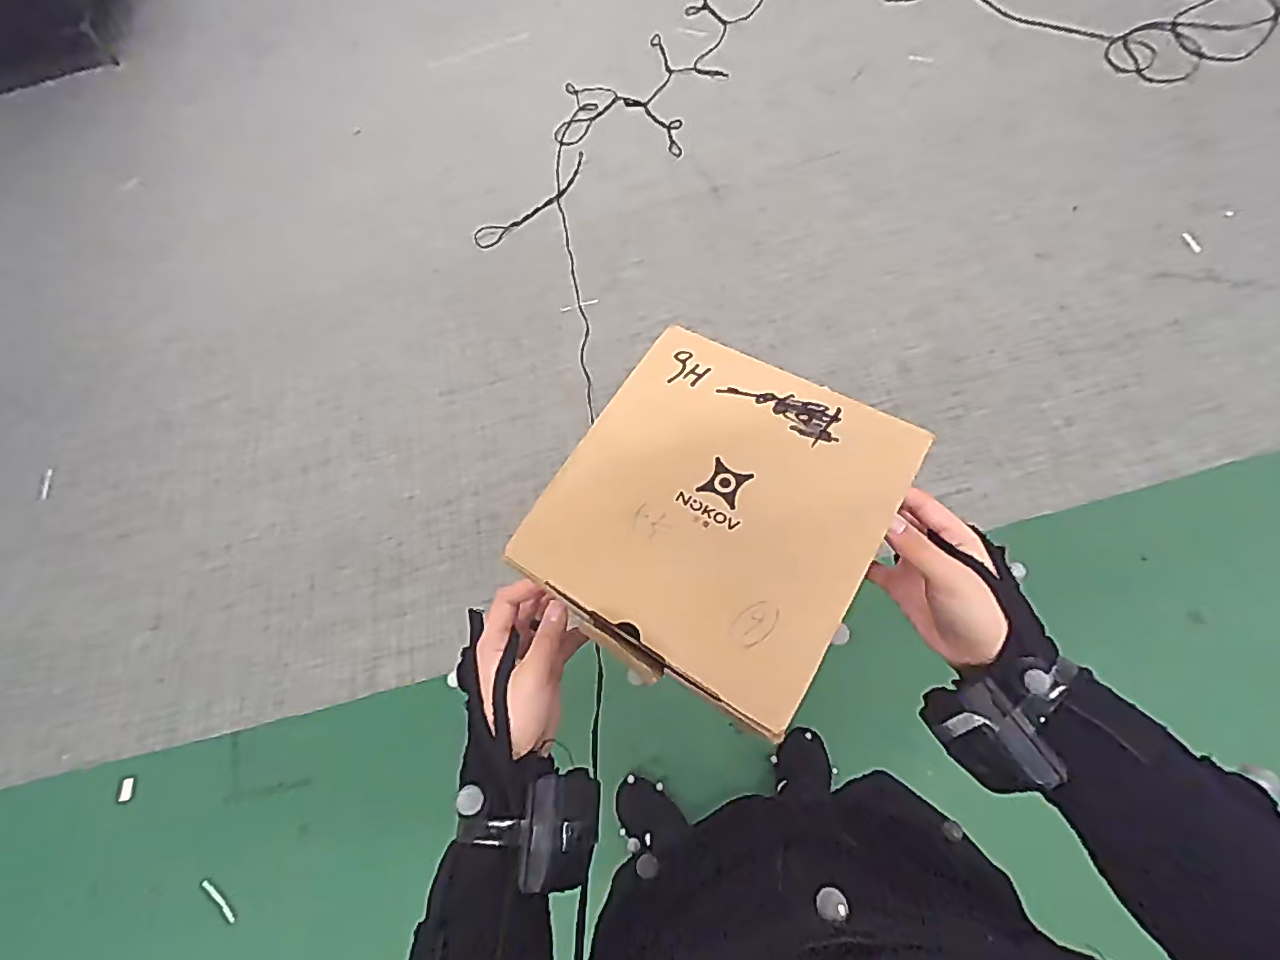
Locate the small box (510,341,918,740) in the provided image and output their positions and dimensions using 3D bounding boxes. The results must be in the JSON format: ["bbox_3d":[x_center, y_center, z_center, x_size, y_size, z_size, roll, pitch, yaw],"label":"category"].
[{"bbox_3d":[0.051,0.047,0.367,0.168,0.176,0.179,29,73,19],"label":"small box"}]
